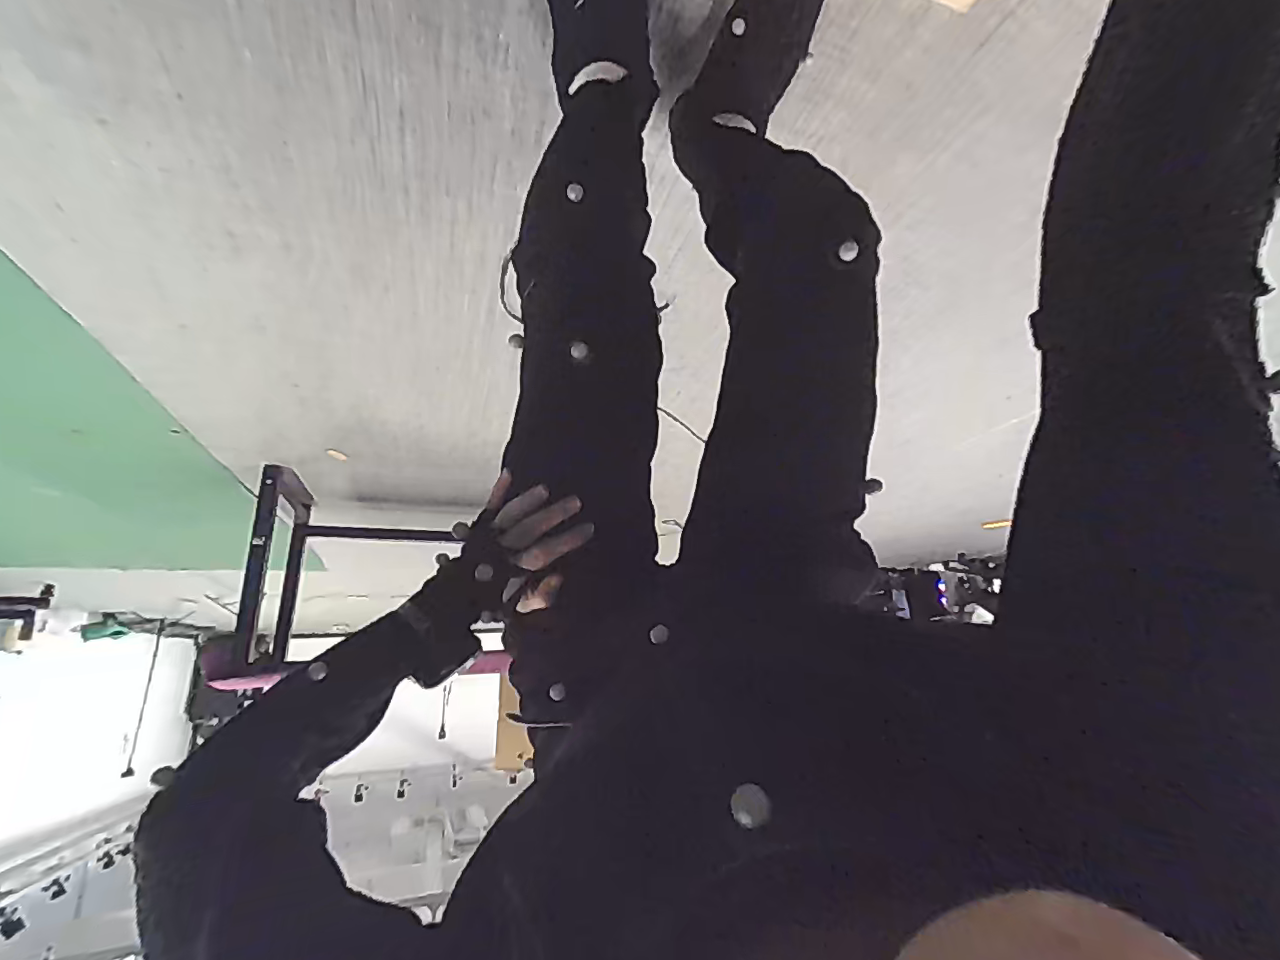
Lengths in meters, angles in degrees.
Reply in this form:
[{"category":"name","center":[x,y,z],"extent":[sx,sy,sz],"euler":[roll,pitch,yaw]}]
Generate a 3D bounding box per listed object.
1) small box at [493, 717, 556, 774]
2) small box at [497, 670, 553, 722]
[{"category":"small box","center":[-0.418,0.960,1.972],"extent":[0.179,0.176,0.168],"euler":[-6,161,14]},{"category":"small box","center":[-0.432,0.808,2.037],"extent":[0.179,0.176,0.168],"euler":[-3,162,3]}]
